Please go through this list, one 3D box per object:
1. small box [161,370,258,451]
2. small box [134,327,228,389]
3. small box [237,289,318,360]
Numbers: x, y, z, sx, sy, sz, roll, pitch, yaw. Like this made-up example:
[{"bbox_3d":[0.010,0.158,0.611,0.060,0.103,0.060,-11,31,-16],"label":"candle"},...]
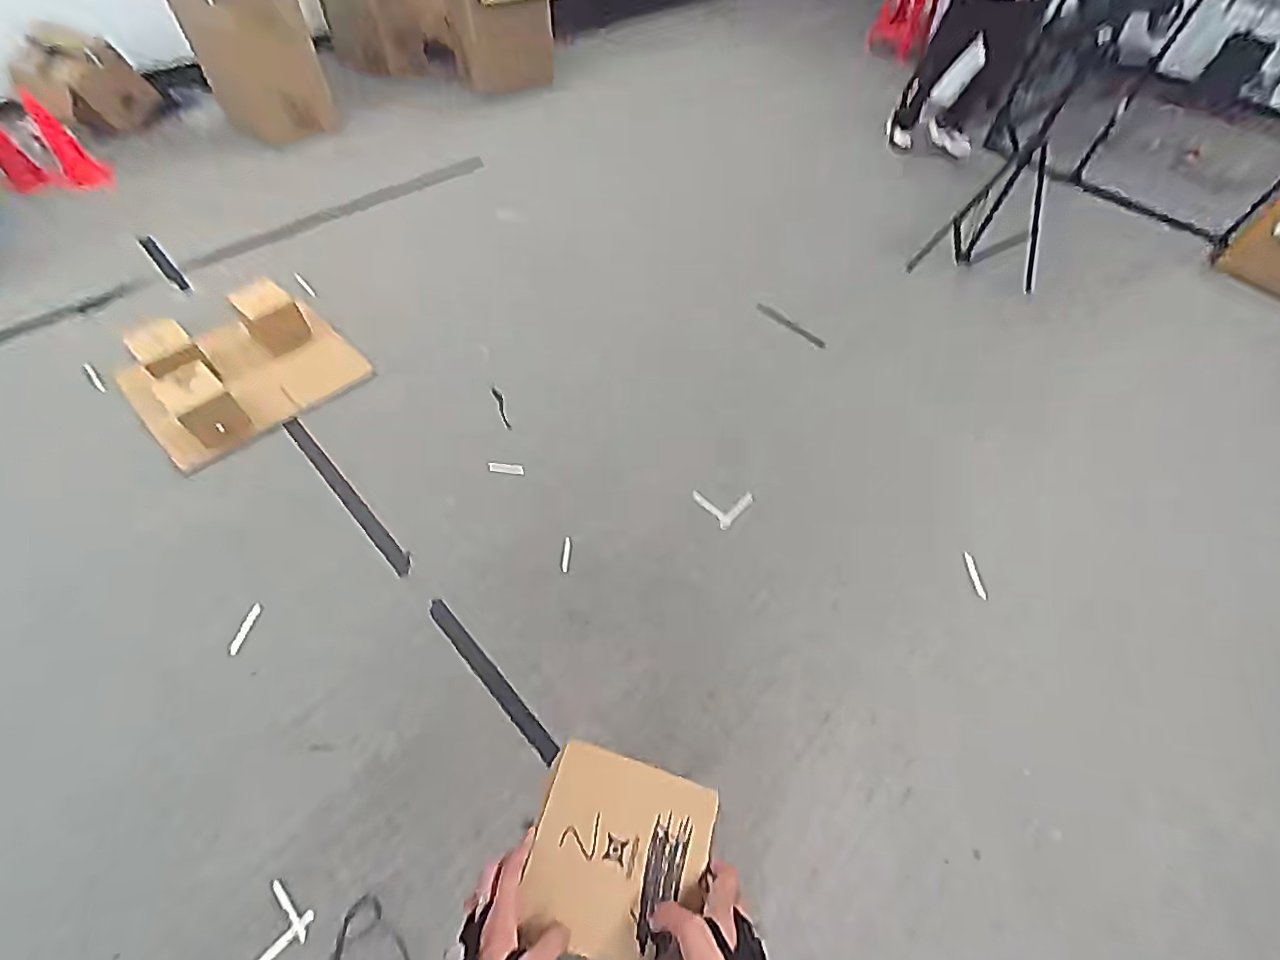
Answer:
[{"bbox_3d":[-1.444,-0.229,1.821,0.179,0.176,0.168,39,62,20],"label":"small box"},{"bbox_3d":[-1.635,-0.409,1.932,0.179,0.176,0.168,39,62,21],"label":"small box"},{"bbox_3d":[-1.396,-0.598,2.090,0.179,0.176,0.168,36,60,19],"label":"small box"}]
